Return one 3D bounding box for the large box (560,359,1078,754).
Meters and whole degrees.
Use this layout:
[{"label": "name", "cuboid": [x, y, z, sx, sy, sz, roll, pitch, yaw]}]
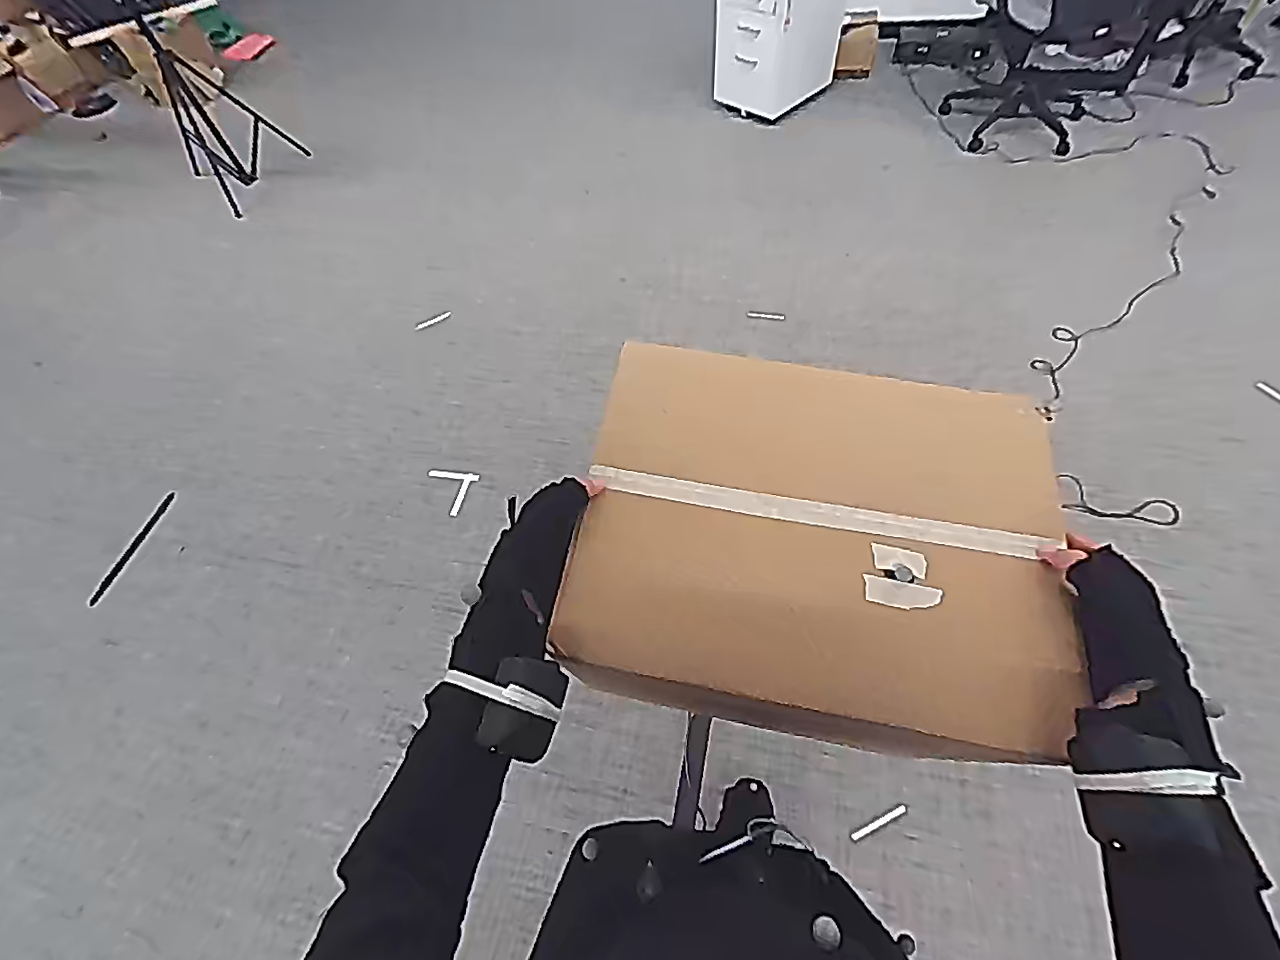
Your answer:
[{"label": "large box", "cuboid": [0.155, 0.102, 0.610, 0.408, 0.320, 0.320, 9, 66, 5]}]
